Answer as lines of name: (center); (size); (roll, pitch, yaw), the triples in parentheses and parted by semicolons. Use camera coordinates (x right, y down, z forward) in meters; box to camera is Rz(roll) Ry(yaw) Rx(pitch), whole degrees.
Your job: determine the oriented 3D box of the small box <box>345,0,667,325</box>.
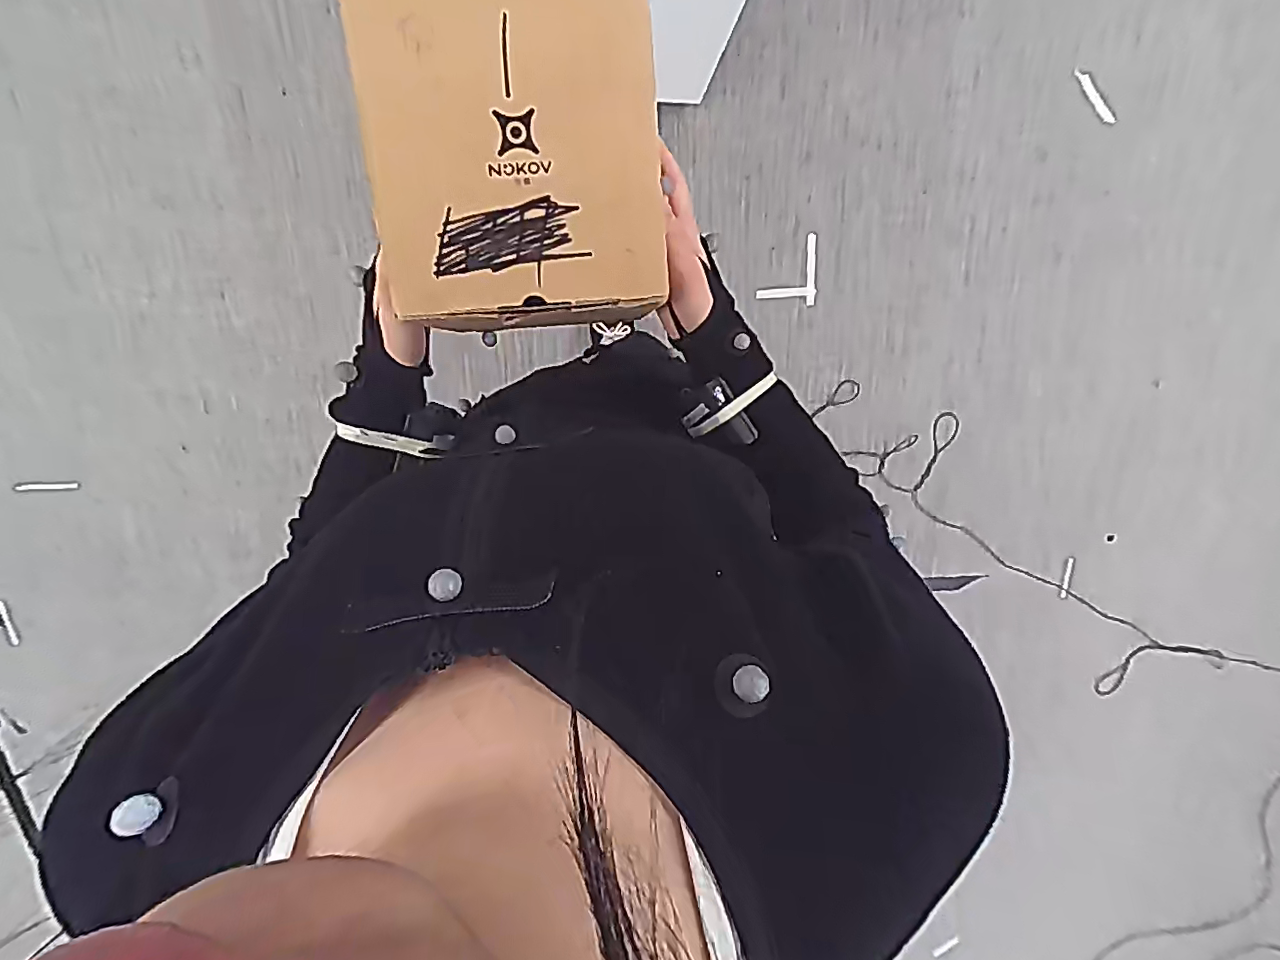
small box: (-0.076, -0.206, 0.382); (0.168, 0.176, 0.179); (-6, 103, -5)
